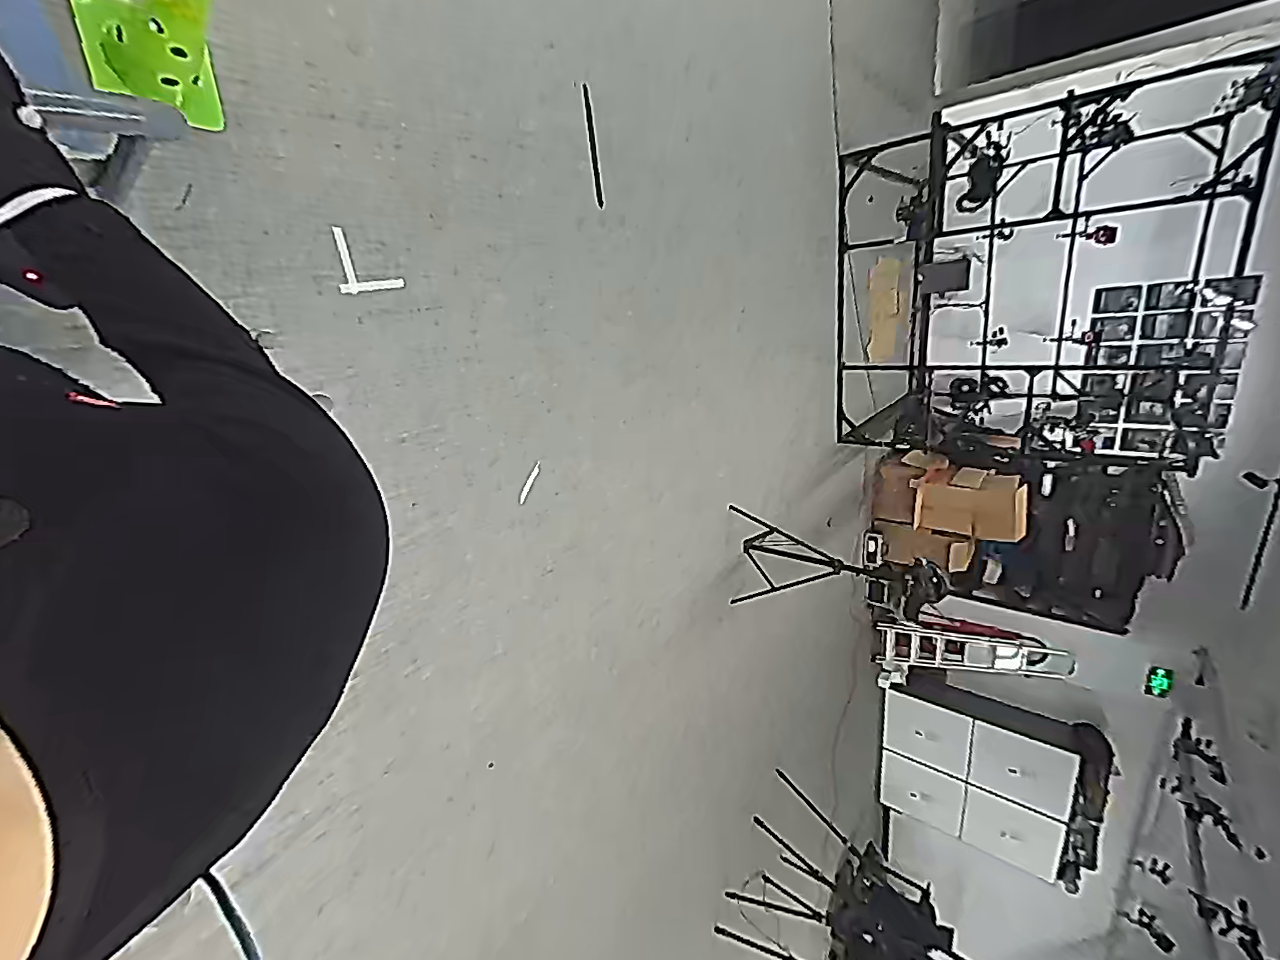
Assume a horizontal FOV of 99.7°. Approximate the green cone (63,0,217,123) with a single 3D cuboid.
[{"bbox_3d":[-0.828,-0.806,0.946,0.202,0.368,0.200,-22,114,-49],"label":"green cone"}]
